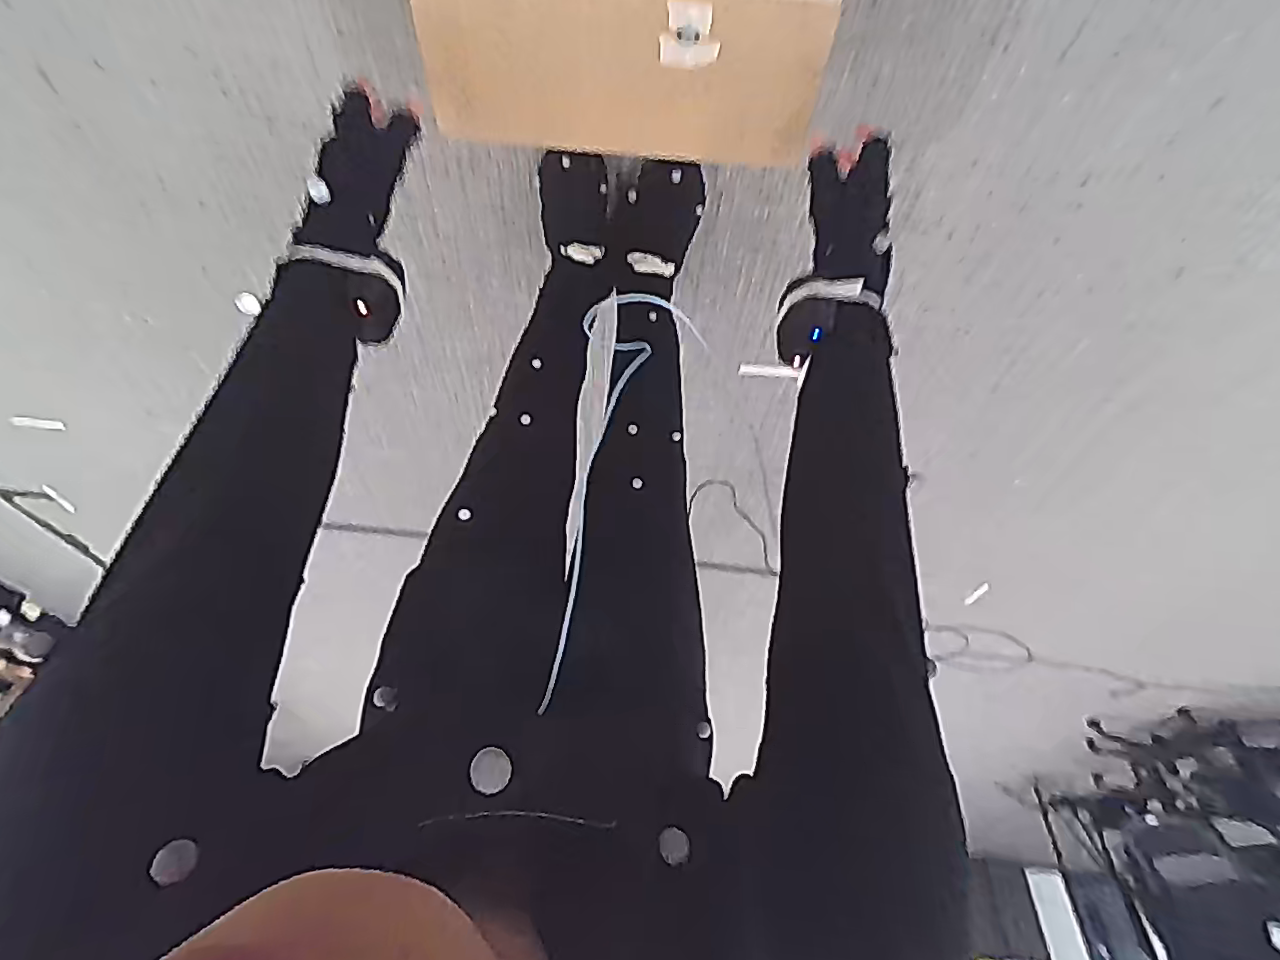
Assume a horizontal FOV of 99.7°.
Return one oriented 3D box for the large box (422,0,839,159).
[{"bbox_3d":[-0.003,-0.586,0.585,0.408,0.320,0.320,5,142,0],"label":"large box"}]
